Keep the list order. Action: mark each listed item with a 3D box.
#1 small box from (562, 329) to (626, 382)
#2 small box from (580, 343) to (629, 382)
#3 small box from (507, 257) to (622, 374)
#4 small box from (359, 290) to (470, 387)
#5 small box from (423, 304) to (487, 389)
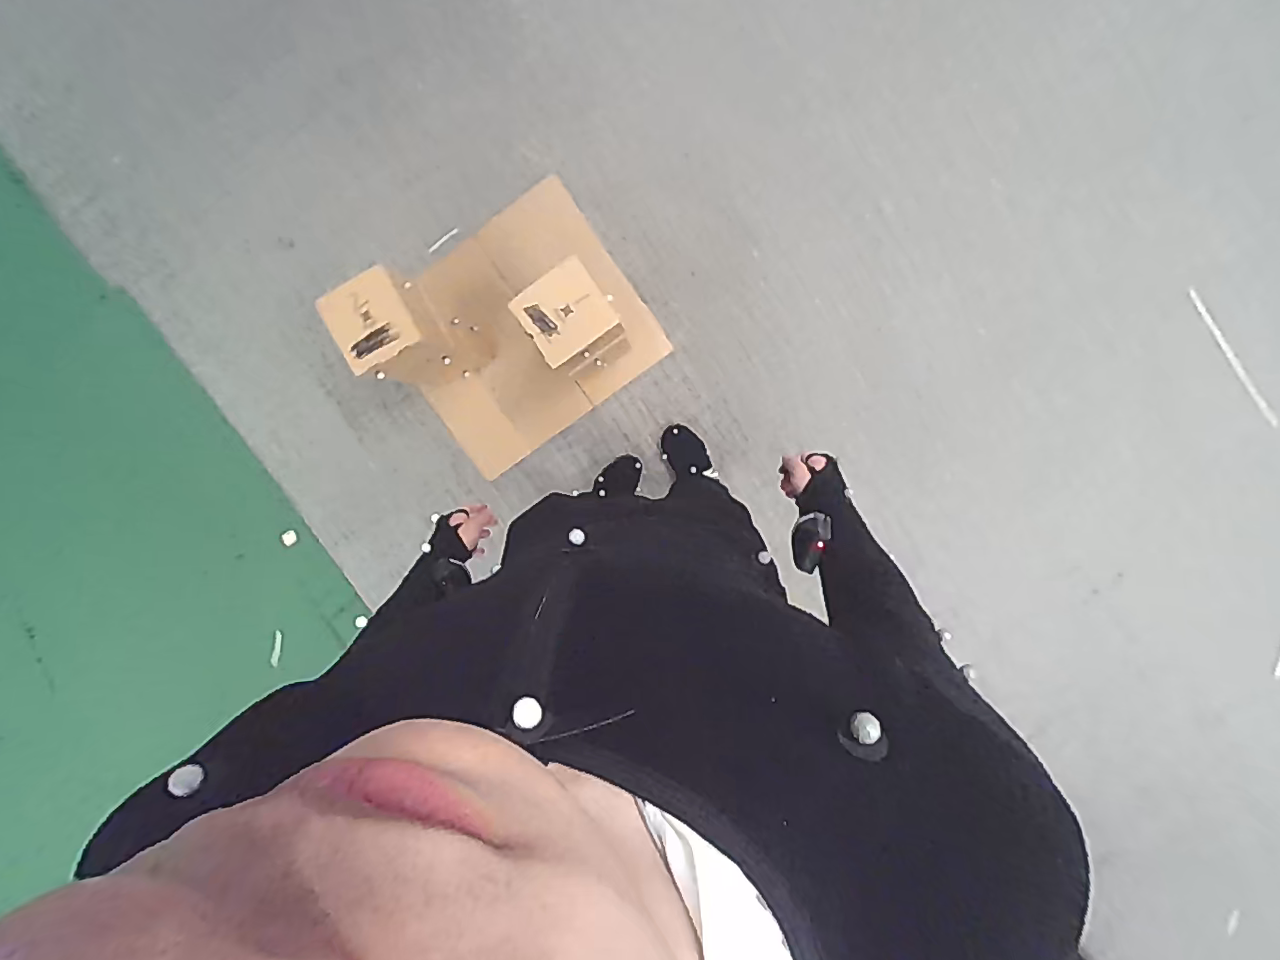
[{"bbox_3d":[-0.147,-0.361,1.344,0.179,0.176,0.168,-35,95,7],"label":"small box"},{"bbox_3d":[-0.145,-0.386,1.503,0.179,0.176,0.168,-34,95,6],"label":"small box"},{"bbox_3d":[-0.155,-0.345,1.180,0.179,0.176,0.168,-35,95,6],"label":"small box"},{"bbox_3d":[-0.550,-0.346,1.353,0.179,0.176,0.168,-27,94,5],"label":"small box"},{"bbox_3d":[-0.550,-0.368,1.518,0.179,0.176,0.168,-27,94,4],"label":"small box"}]
